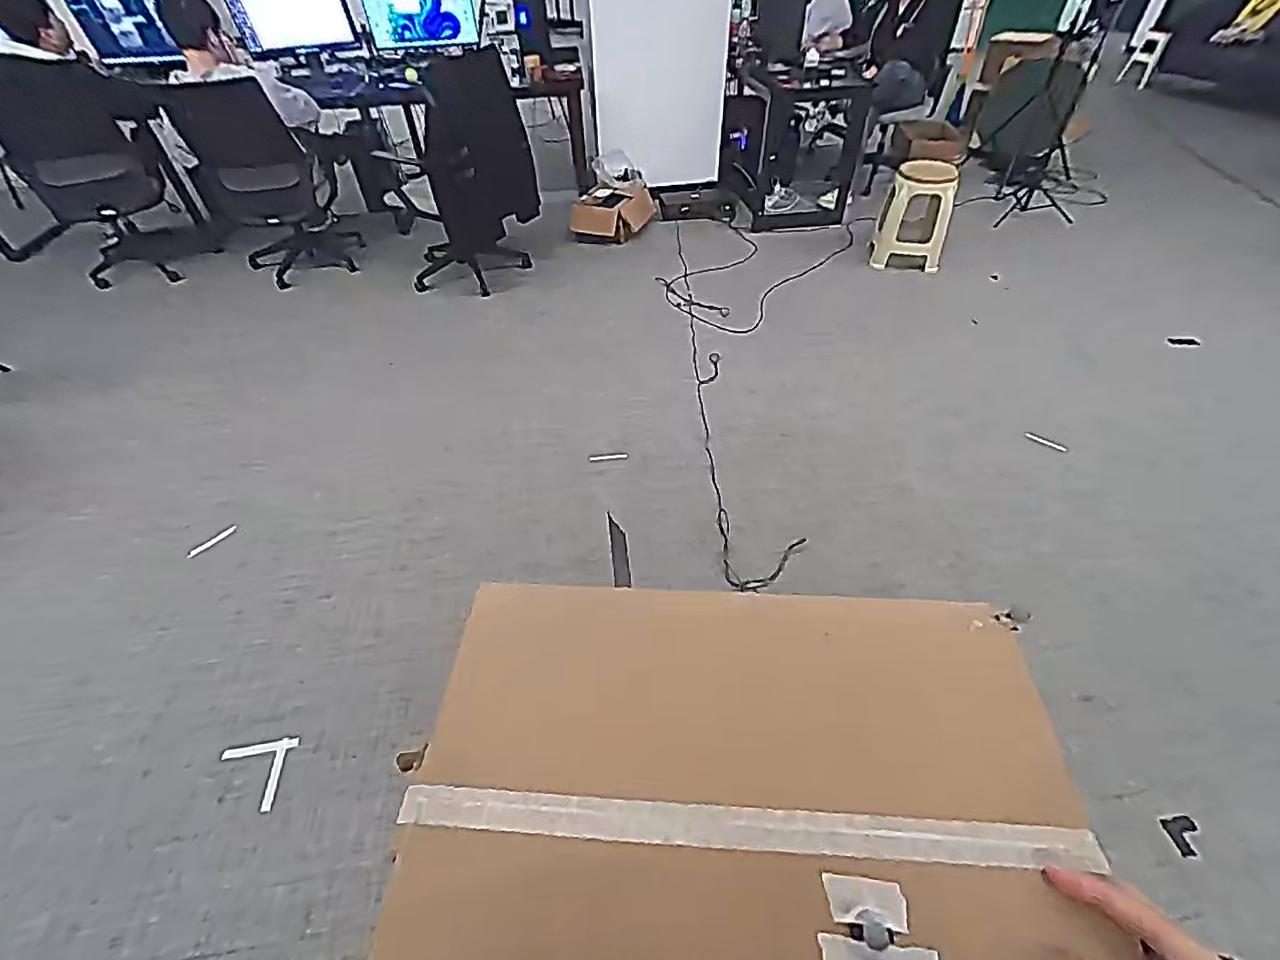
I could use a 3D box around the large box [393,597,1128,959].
[{"bbox_3d":[0.068,0.311,0.444,0.408,0.320,0.320,1,51,4],"label":"large box"}]
